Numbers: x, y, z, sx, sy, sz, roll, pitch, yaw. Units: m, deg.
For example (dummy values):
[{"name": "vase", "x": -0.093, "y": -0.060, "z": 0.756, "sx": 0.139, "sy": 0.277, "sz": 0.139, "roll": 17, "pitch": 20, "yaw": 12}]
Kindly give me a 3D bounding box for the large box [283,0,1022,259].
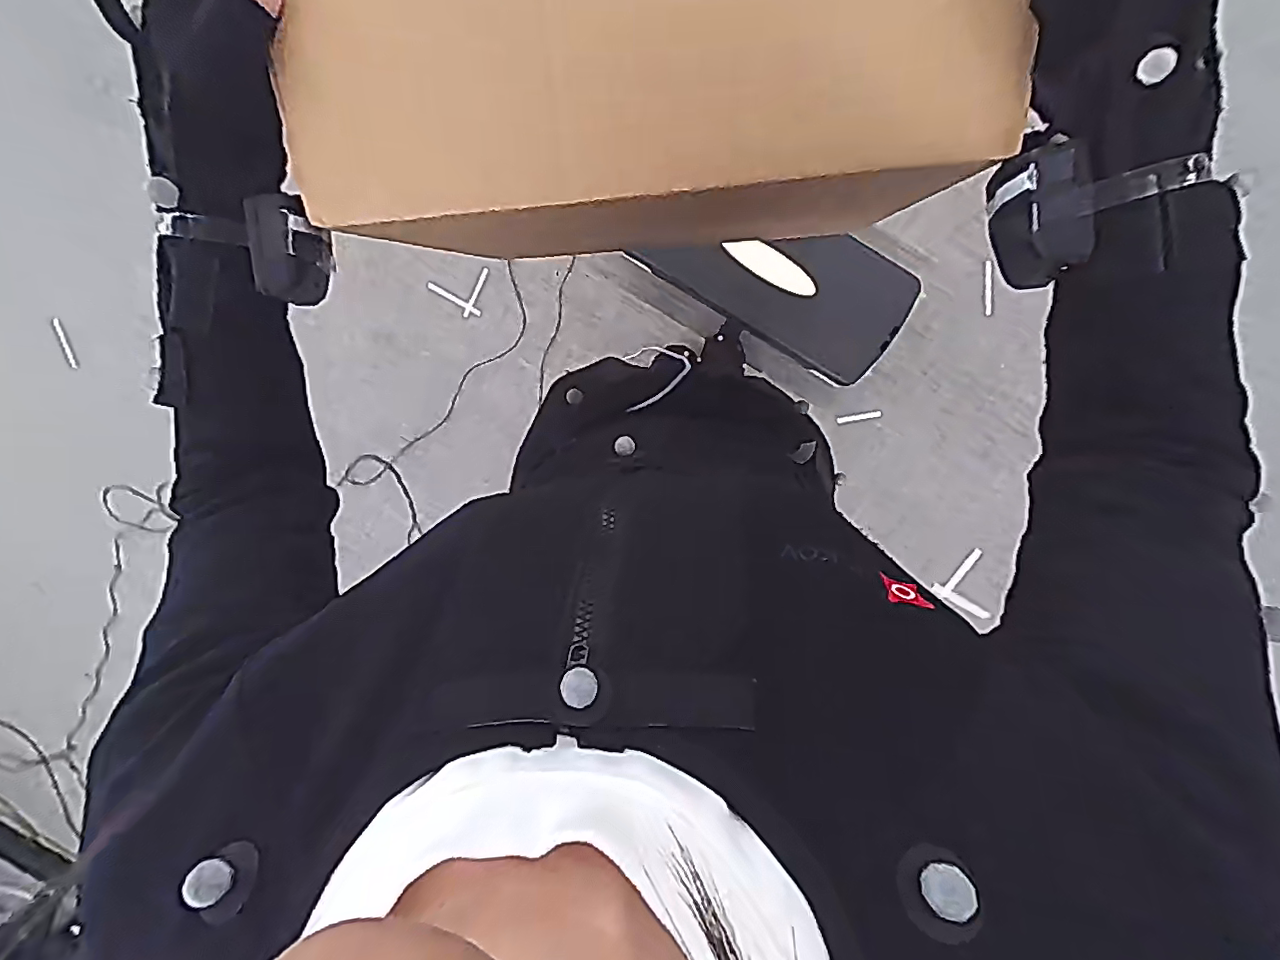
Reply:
[{"name": "large box", "x": 0.005, "y": -0.365, "z": 0.413, "sx": 0.408, "sy": 0.320, "sz": 0.320, "roll": -3, "pitch": 109, "yaw": 8}]
